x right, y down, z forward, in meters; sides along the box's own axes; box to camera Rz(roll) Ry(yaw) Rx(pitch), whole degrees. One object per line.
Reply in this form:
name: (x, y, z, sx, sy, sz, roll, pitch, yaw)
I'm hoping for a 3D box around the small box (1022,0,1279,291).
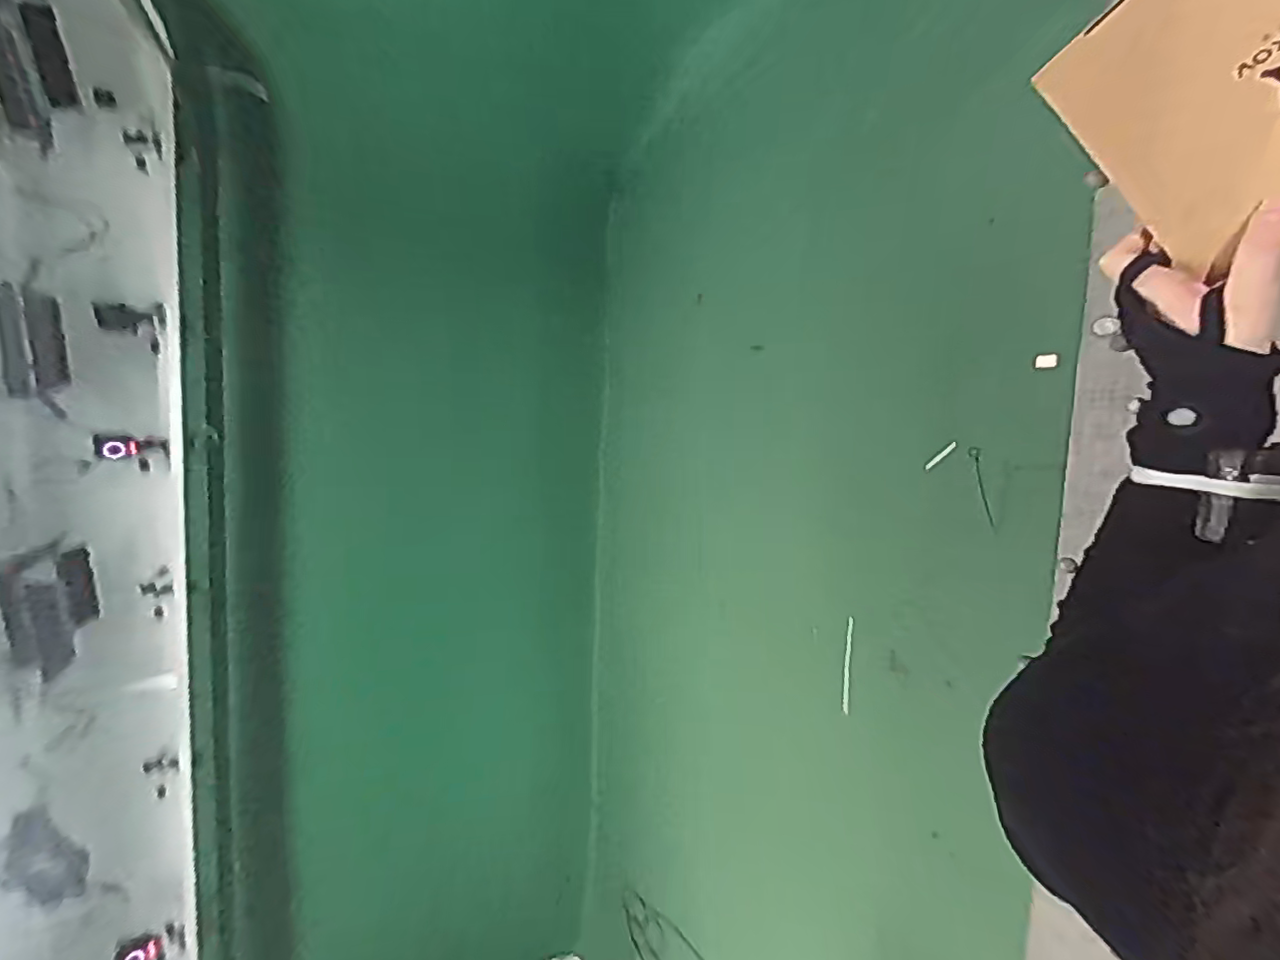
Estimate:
small box: (0.391, -0.260, 0.337, 0.179, 0.176, 0.168, 51, 146, -2)
